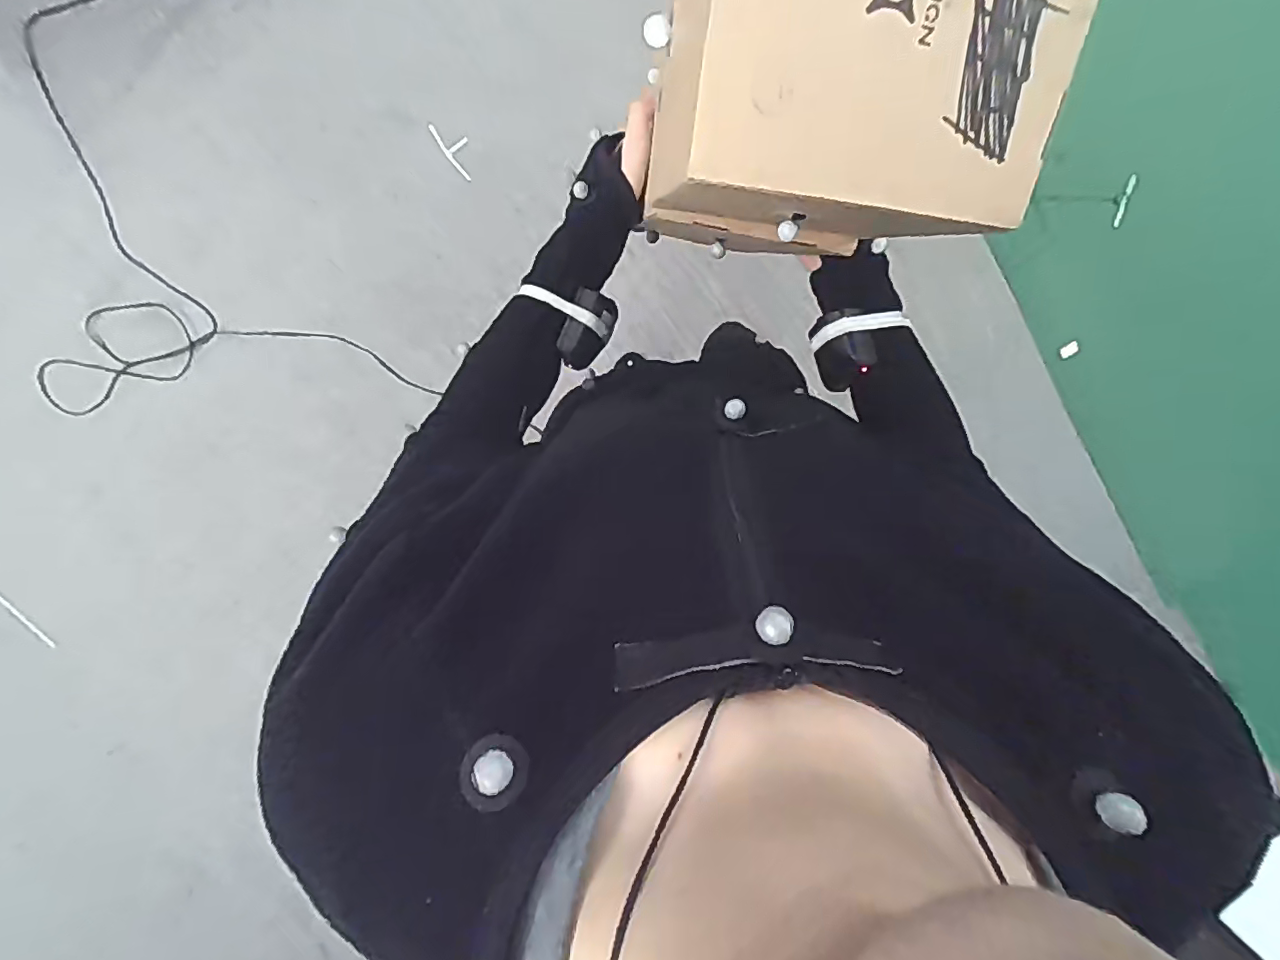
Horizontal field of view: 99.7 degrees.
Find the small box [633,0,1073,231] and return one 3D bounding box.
[{"bbox_3d":[0.097,-0.241,0.303,0.179,0.176,0.168,5,112,-7],"label":"small box"}]

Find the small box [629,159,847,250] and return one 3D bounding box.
[{"bbox_3d":[0.086,-0.302,0.456,0.168,0.176,0.179,7,112,-9],"label":"small box"}]

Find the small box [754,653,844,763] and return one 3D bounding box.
[{"bbox_3d":[0.407,0.564,1.348,0.179,0.176,0.168,-22,102,3],"label":"small box"}]
